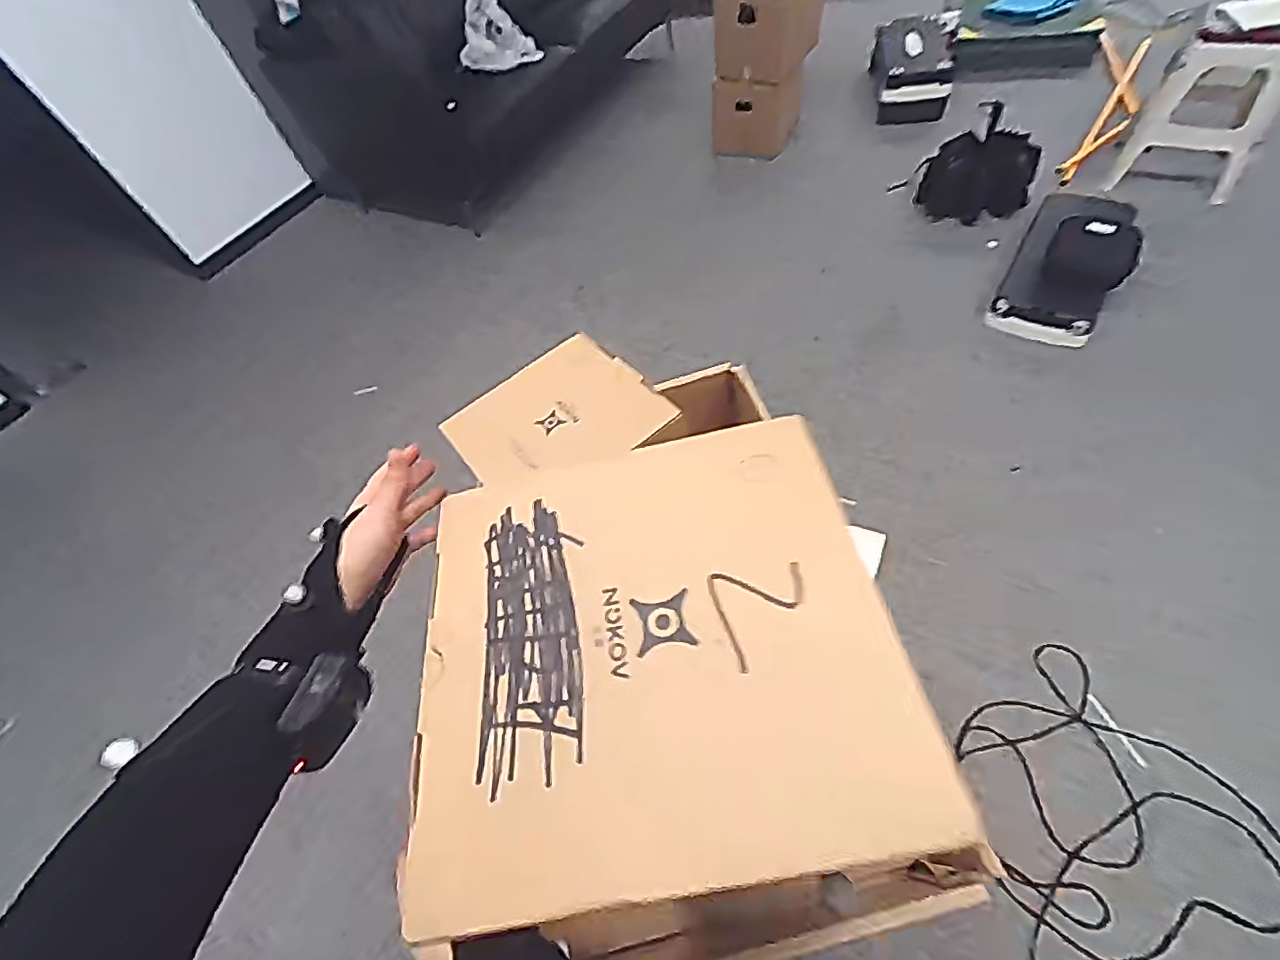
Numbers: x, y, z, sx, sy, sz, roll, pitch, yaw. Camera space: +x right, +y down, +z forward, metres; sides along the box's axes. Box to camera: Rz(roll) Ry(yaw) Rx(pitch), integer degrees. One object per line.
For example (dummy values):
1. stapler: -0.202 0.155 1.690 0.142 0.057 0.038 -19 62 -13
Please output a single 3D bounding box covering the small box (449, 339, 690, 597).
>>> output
1. small box: -0.061 -0.010 0.577 0.179 0.176 0.168 -38 56 -13
